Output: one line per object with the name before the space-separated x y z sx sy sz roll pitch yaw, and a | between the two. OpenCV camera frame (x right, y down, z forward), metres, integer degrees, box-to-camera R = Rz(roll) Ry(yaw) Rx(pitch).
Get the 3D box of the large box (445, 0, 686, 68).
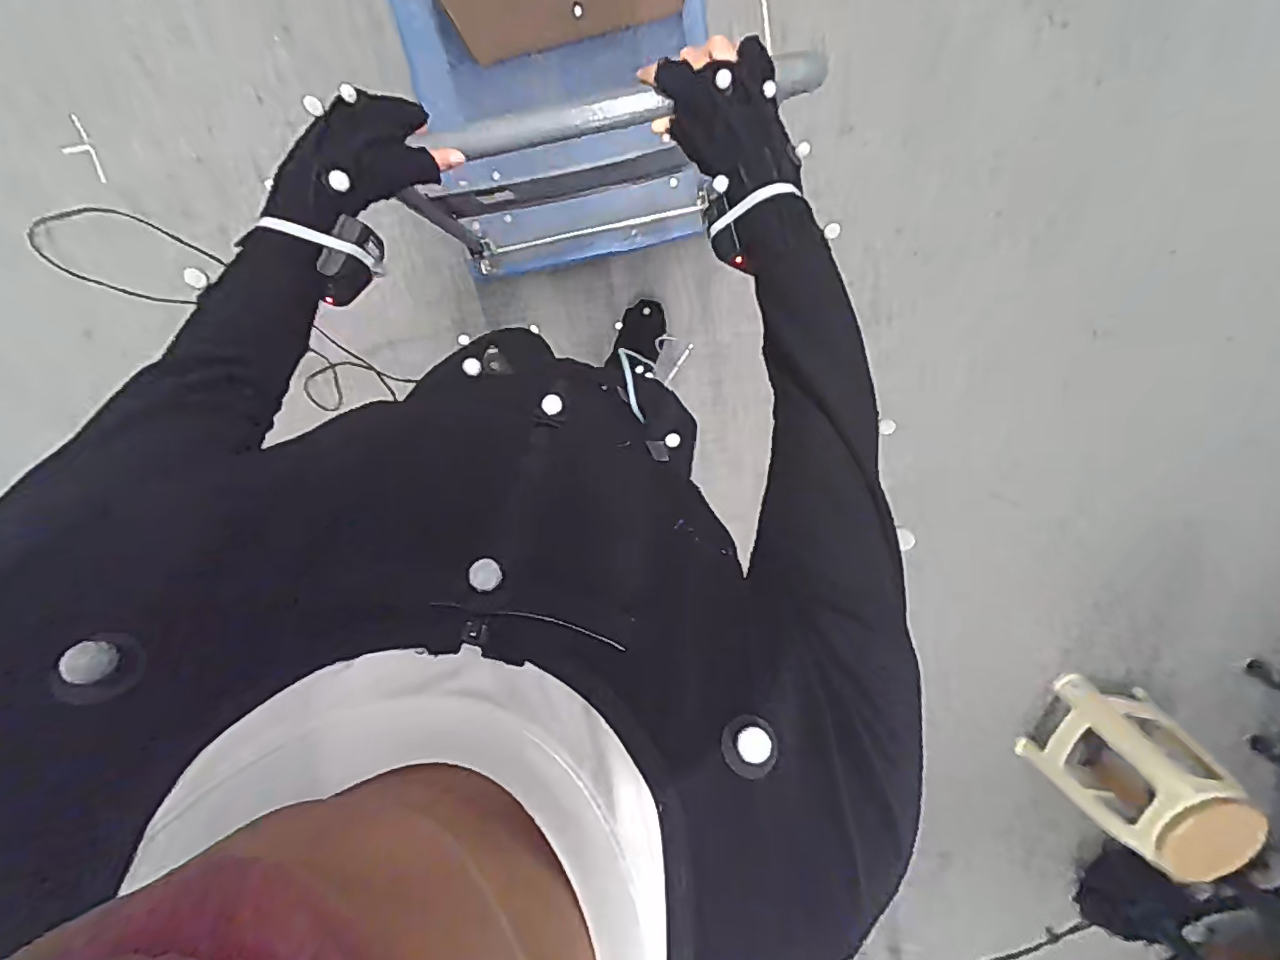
large box | -0.137 -0.931 0.849 0.408 0.320 0.320 -14 108 3
